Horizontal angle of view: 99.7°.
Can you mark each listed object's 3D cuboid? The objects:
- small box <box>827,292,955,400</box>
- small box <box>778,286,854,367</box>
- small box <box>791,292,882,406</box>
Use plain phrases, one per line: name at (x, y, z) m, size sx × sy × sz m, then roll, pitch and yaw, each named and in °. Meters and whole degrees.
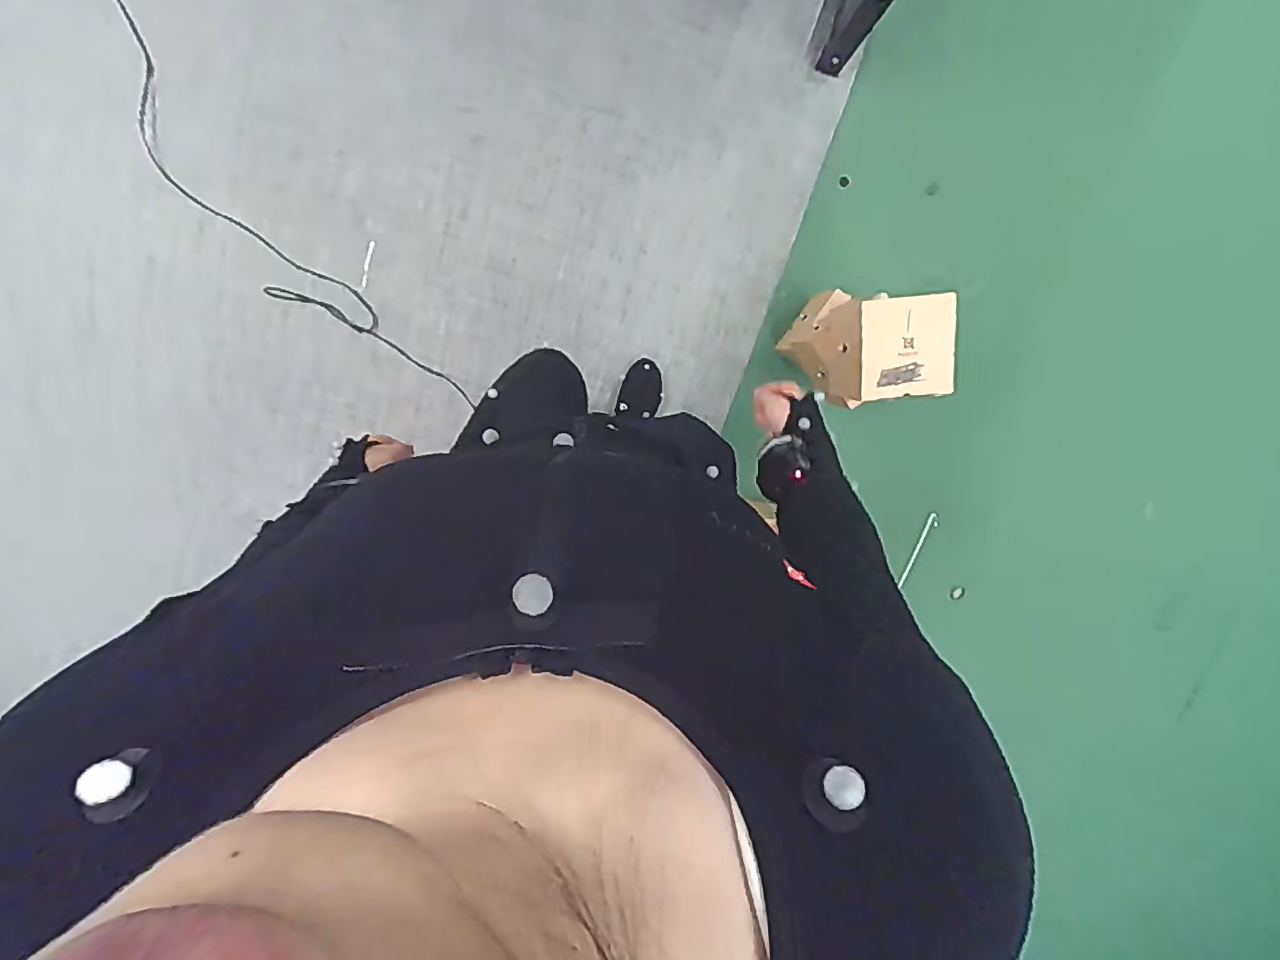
small box at (0.461, -0.251, 1.017) m, size 0.168 × 0.176 × 0.179 m, roll -5°, pitch 103°, yaw 1°
small box at (0.467, -0.350, 1.330) m, size 0.179 × 0.176 × 0.168 m, roll 33°, pitch 102°, yaw -9°
small box at (0.455, -0.283, 1.179) m, size 0.168 × 0.176 × 0.179 m, roll -34°, pitch 103°, yaw 8°
